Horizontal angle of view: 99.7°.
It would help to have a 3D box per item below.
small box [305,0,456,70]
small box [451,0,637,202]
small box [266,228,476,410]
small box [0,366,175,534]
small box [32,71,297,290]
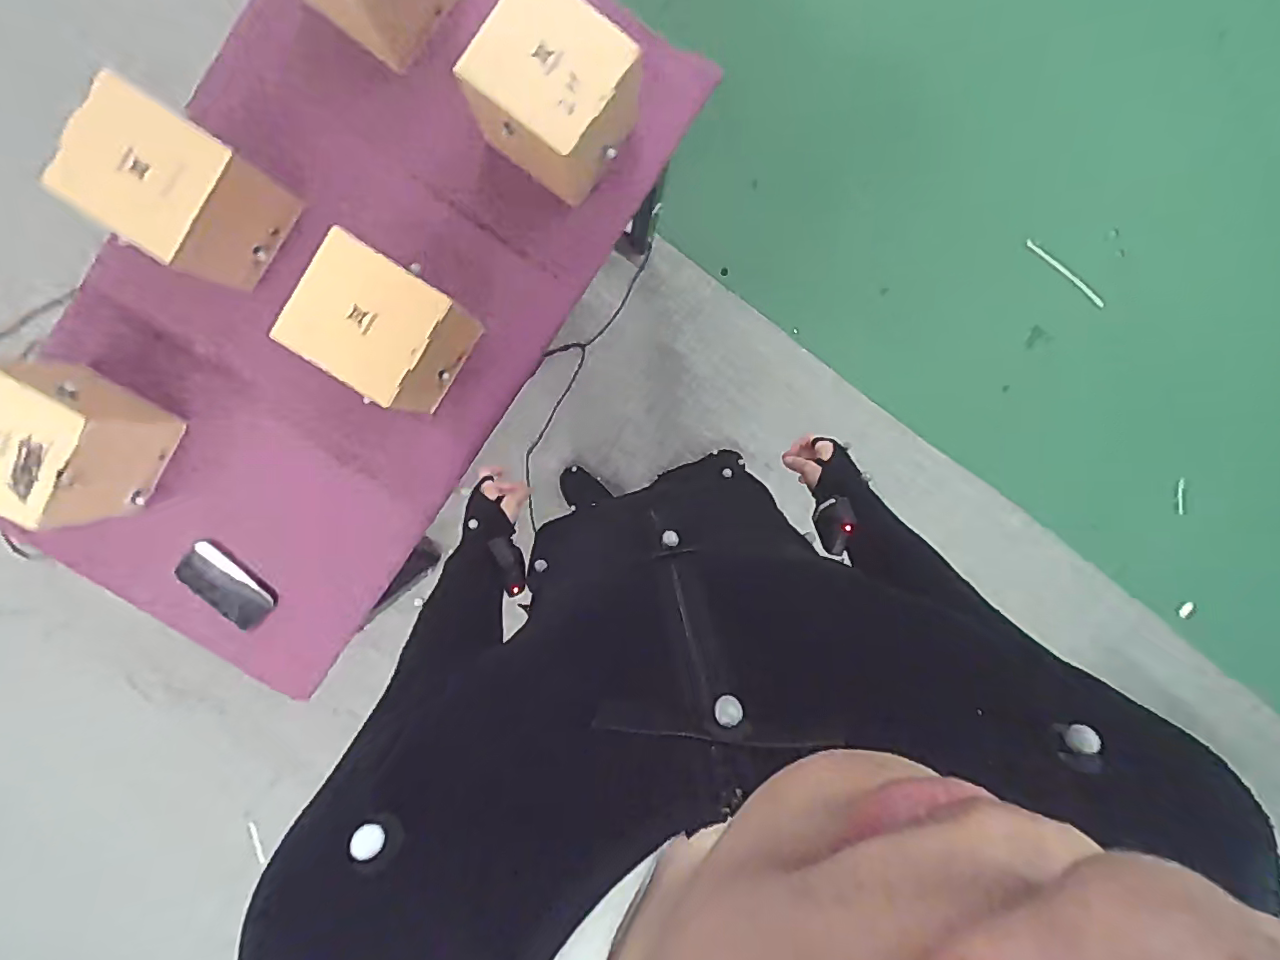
[{"bbox_3d":[-0.380,-0.716,0.727,0.179,0.176,0.168,36,93,-5],"label":"small box"},{"bbox_3d":[-0.123,-0.530,0.753,0.179,0.176,0.168,36,93,-5],"label":"small box"},{"bbox_3d":[-0.365,-0.211,0.769,0.179,0.176,0.168,32,92,-5],"label":"small box"},{"bbox_3d":[-0.819,-0.049,0.753,0.179,0.176,0.168,30,92,-5],"label":"small box"},{"bbox_3d":[-0.627,-0.387,0.740,0.179,0.176,0.168,33,93,-6],"label":"small box"}]
